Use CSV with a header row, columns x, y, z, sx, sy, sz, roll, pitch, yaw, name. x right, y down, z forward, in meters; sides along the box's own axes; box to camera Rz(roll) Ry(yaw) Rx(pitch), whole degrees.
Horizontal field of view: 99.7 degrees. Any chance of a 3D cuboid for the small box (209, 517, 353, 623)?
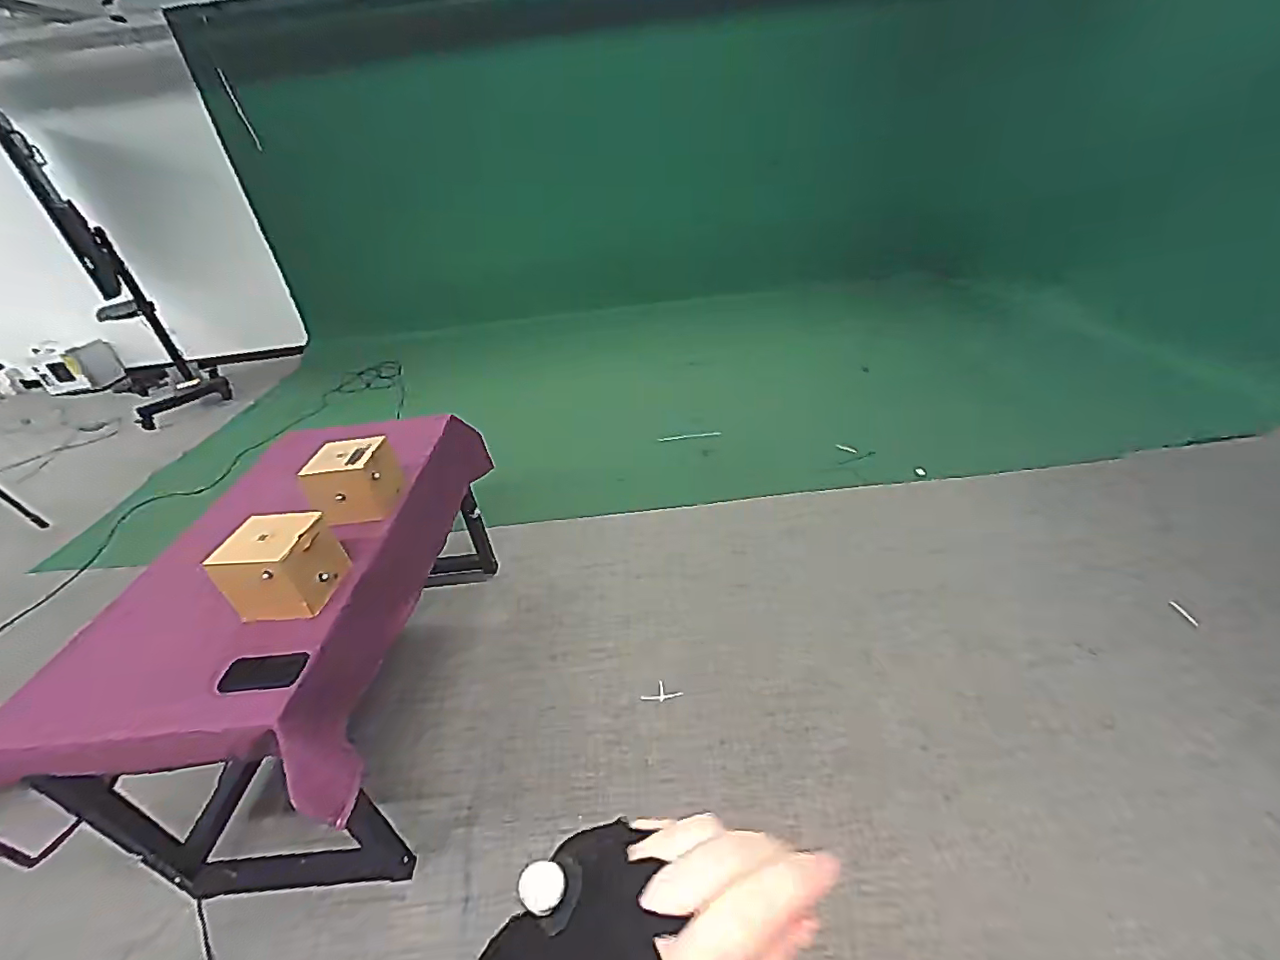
x,y,z,sx,sy,sz,roll,pitch,yaw,name
-0.786,0.203,1.206,0.179,0.176,0.168,-4,33,6,small box
